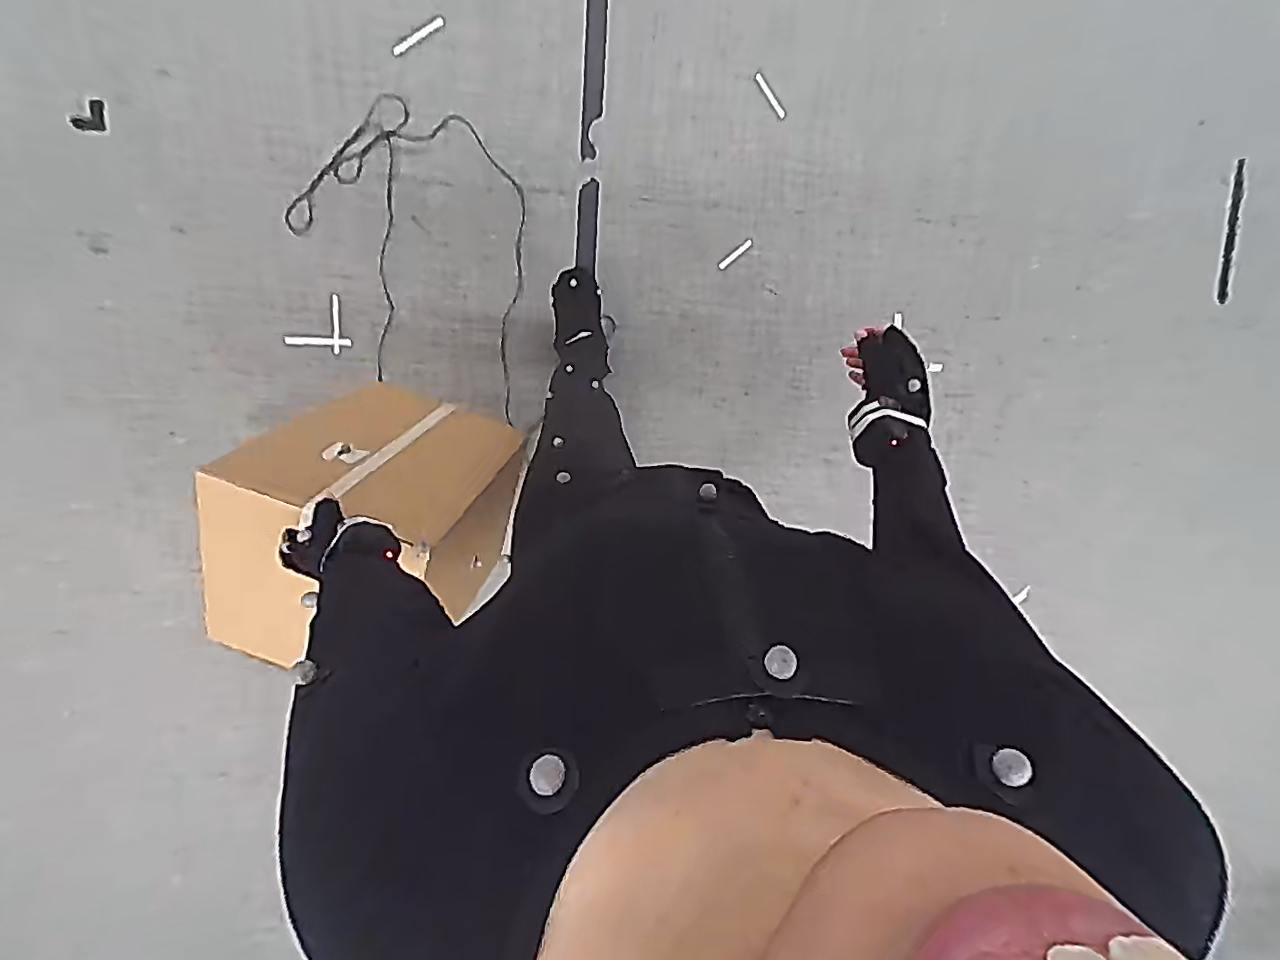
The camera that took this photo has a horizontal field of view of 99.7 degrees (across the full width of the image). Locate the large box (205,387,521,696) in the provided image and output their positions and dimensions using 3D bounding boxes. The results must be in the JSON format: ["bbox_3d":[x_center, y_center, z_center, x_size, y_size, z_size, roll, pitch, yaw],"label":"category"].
[{"bbox_3d":[-0.443,0.081,0.944,0.320,0.408,0.320,19,117,0],"label":"large box"}]
